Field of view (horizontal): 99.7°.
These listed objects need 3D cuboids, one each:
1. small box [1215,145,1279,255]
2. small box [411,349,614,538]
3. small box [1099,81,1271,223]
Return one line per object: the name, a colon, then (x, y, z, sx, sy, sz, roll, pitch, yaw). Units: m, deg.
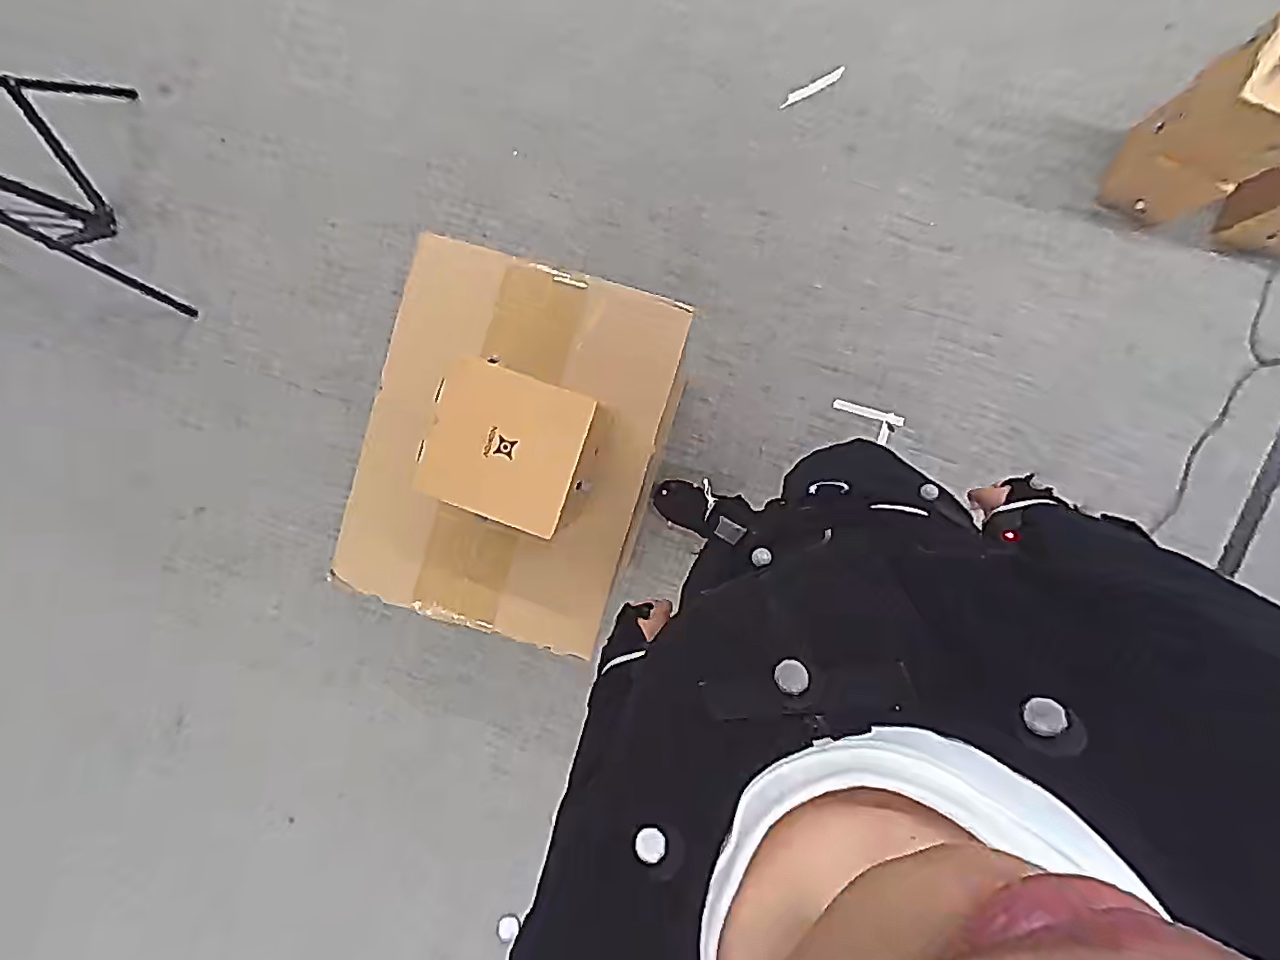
small box: (1.413, -0.615, 1.156, 0.168, 0.176, 0.179, 21, 94, 5)
small box: (-0.141, -0.045, 0.665, 0.179, 0.176, 0.168, 19, 94, 3)
small box: (1.162, -0.698, 1.171, 0.168, 0.176, 0.179, 26, 95, 3)
